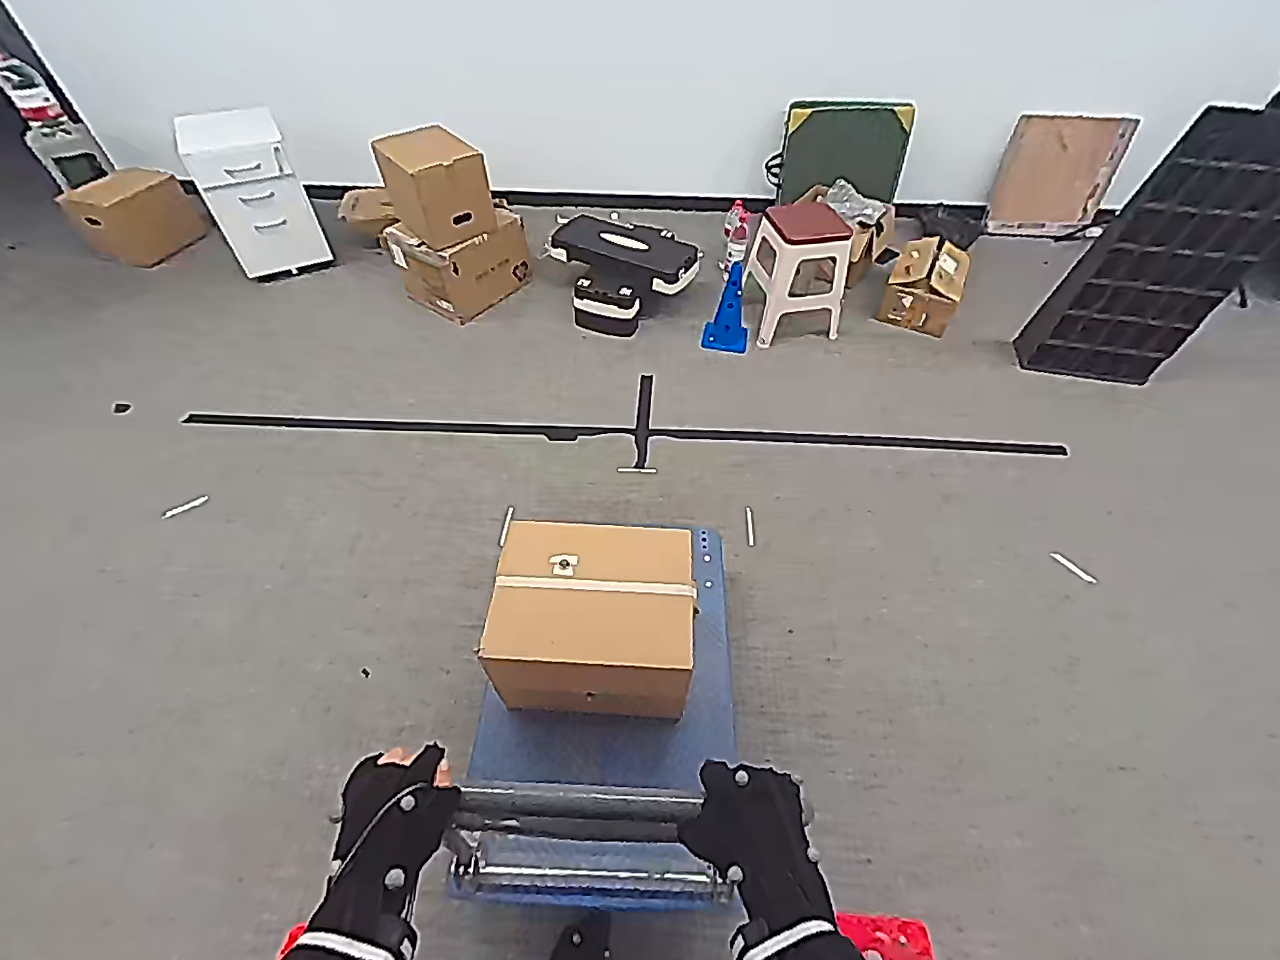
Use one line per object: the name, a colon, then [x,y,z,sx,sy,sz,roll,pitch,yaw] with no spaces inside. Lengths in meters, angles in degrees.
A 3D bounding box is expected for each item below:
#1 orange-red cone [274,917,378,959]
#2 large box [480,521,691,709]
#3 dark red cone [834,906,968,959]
orange-red cone: [-0.634,0.883,0.924,0.198,0.360,0.199,10,49,5]
large box: [-0.096,0.311,1.221,0.408,0.320,0.320,3,51,2]
dark red cone: [0.500,0.867,0.937,0.201,0.394,0.202,4,51,0]
